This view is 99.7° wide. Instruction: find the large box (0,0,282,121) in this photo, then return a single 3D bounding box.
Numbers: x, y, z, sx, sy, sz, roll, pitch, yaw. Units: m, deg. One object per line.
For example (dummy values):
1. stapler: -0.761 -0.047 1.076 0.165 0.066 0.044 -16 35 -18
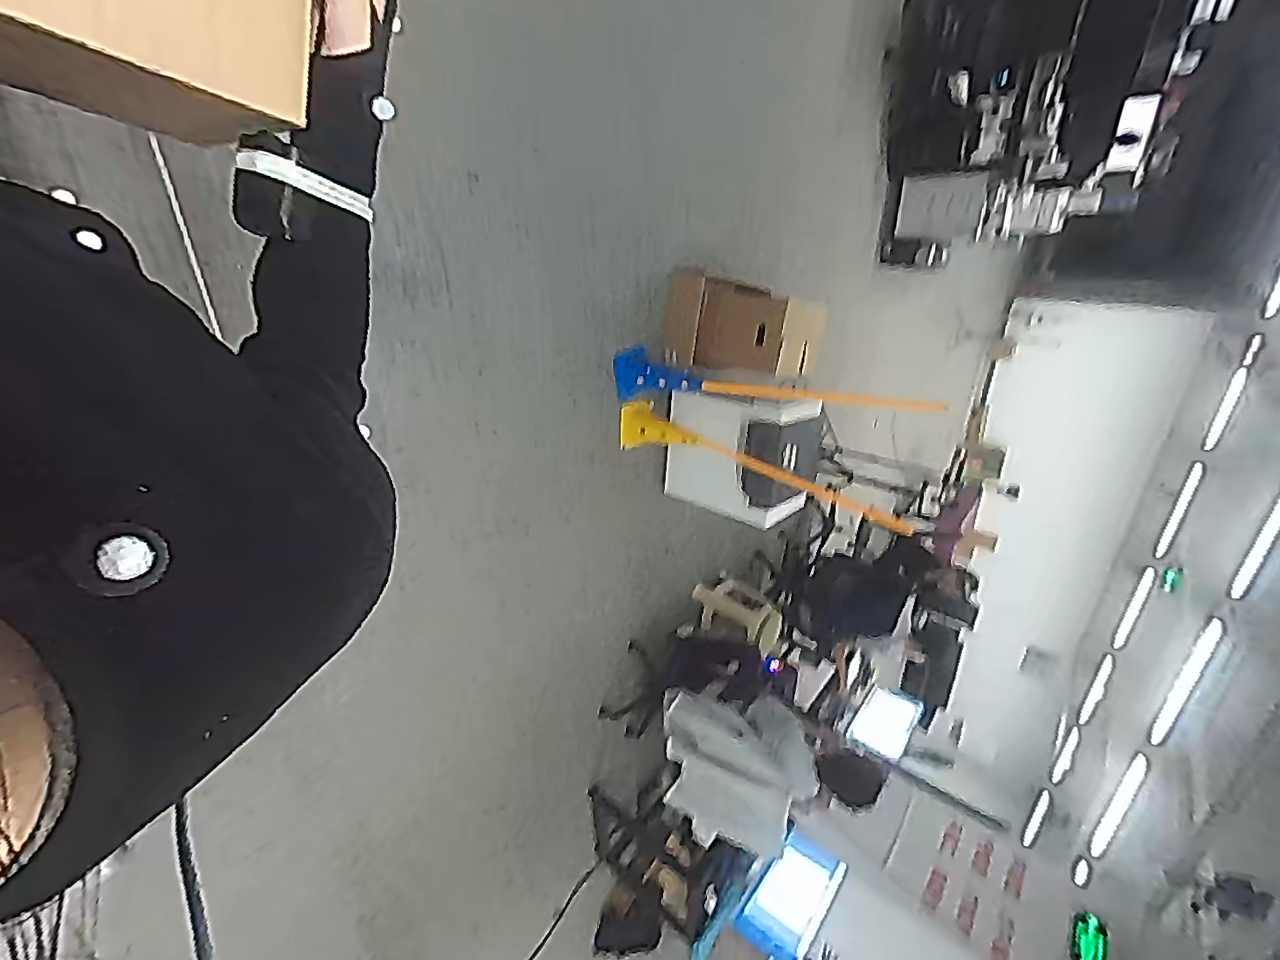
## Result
1. large box: -0.461 -0.440 0.285 0.408 0.320 0.320 -6 114 -47
